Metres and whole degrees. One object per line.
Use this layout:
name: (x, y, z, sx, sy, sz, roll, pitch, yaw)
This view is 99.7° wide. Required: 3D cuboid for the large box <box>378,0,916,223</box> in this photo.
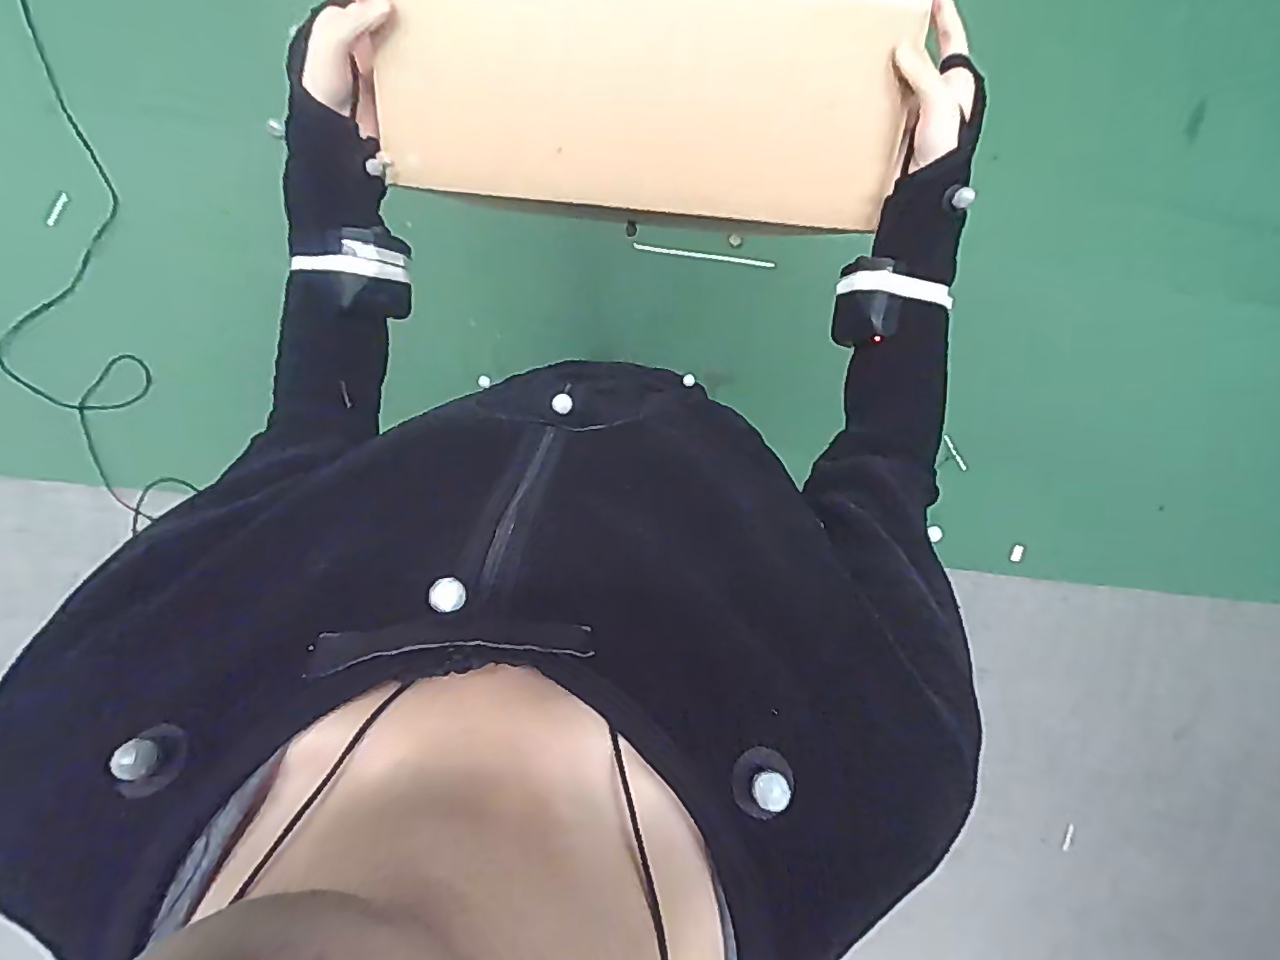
large box: (0.006, -0.432, 0.524, 0.408, 0.320, 0.320, 3, 113, -4)
